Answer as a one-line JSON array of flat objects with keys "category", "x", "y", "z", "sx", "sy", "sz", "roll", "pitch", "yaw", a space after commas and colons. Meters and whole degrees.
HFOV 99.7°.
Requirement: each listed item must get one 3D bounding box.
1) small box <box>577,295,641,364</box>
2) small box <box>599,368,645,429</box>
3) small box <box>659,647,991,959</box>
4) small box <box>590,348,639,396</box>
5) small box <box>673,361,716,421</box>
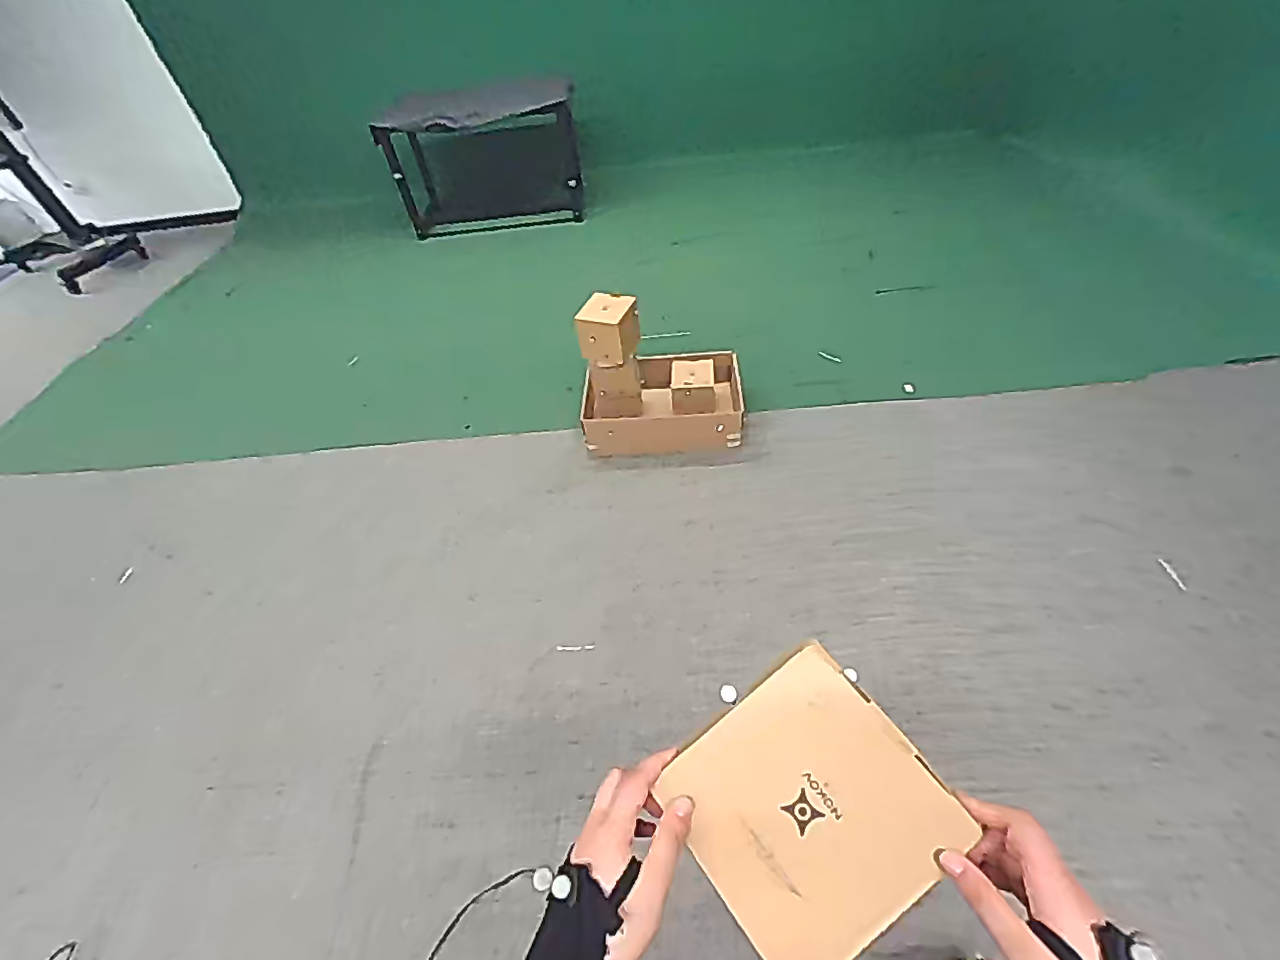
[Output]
[{"category": "small box", "x": -0.102, "y": -0.537, "z": 1.933, "sx": 0.168, "sy": 0.176, "sz": 0.179, "roll": 14, "pitch": 50, "yaw": 18}, {"category": "small box", "x": -0.070, "y": -0.328, "z": 2.183, "sx": 0.168, "sy": 0.176, "sz": 0.179, "roll": -5, "pitch": 47, "yaw": 3}, {"category": "small box", "x": 0.140, "y": 0.265, "z": 0.464, "sx": 0.179, "sy": 0.176, "sz": 0.168, "roll": -39, "pitch": 69, "yaw": -4}, {"category": "small box", "x": -0.090, "y": -0.432, "z": 2.057, "sx": 0.168, "sy": 0.176, "sz": 0.179, "roll": -3, "pitch": 46, "yaw": 3}, {"category": "small box", "x": 0.222, "y": -0.358, "z": 2.176, "sx": 0.168, "sy": 0.176, "sz": 0.179, "roll": -1, "pitch": 48, "yaw": 8}]
